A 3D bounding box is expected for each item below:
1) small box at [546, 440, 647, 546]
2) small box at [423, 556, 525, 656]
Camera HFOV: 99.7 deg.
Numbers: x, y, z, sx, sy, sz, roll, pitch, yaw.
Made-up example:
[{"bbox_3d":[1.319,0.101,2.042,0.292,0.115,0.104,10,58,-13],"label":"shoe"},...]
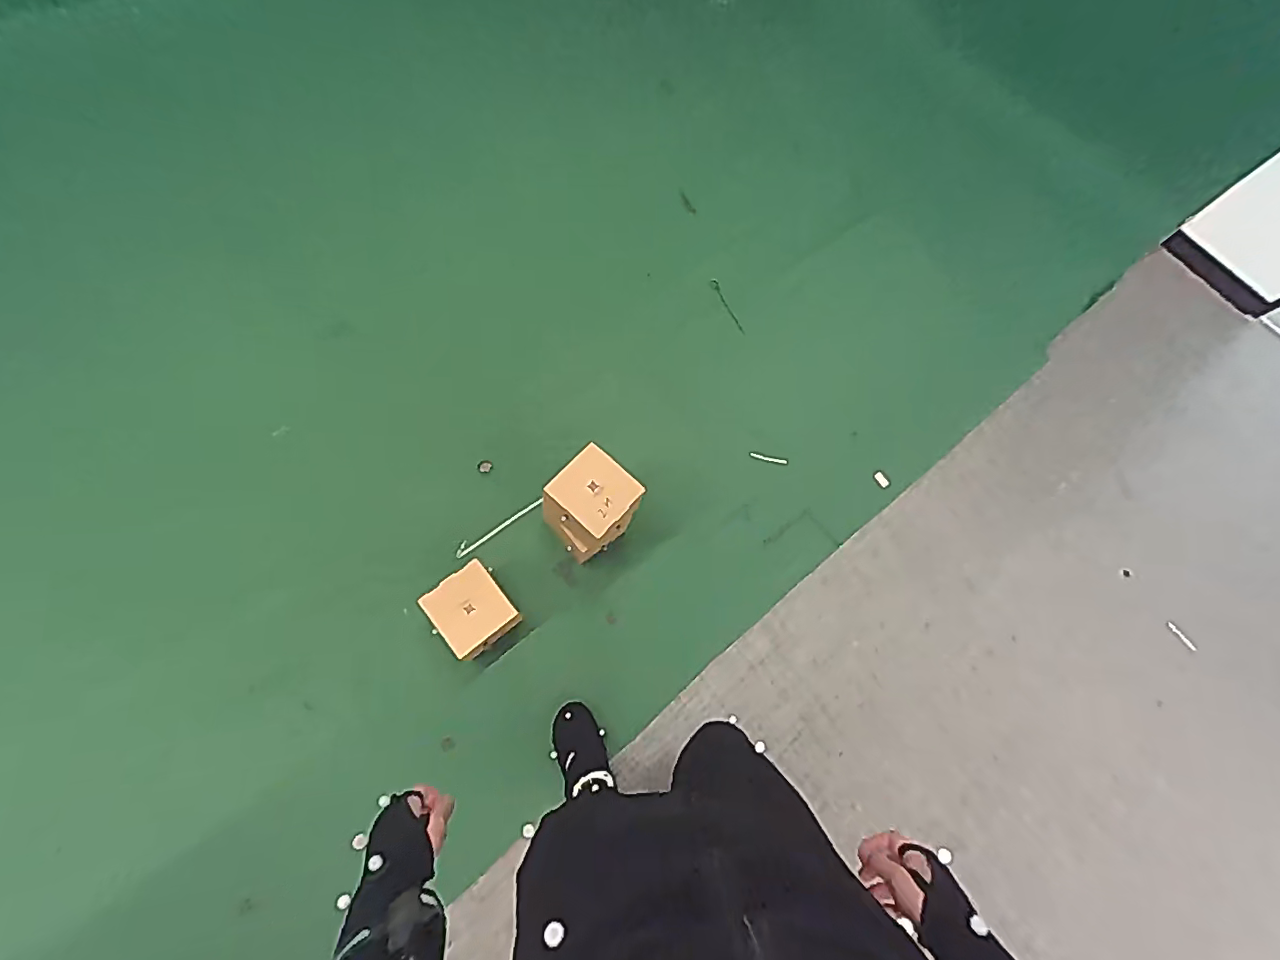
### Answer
[{"bbox_3d":[-0.109,0.039,1.317,0.179,0.176,0.168,42,72,6],"label":"small box"},{"bbox_3d":[-0.408,0.320,1.358,0.168,0.176,0.179,-38,79,-17],"label":"small box"}]
